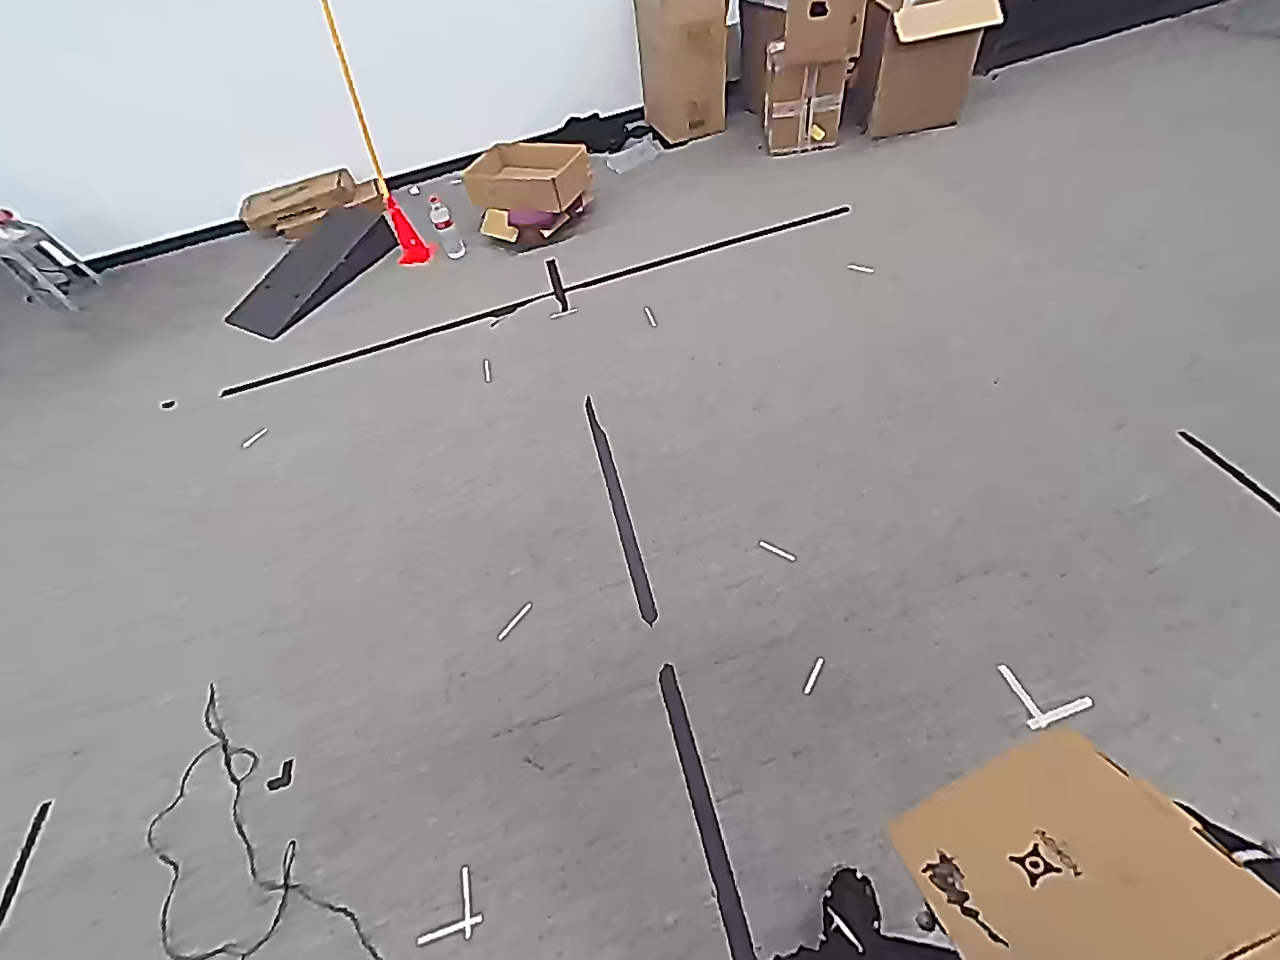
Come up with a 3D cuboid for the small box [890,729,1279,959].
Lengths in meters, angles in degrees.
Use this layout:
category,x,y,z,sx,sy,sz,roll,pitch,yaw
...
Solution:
category,x,y,z,sx,sy,sz,roll,pitch,yaw
small box,0.335,0.338,0.404,0.179,0.176,0.168,-32,11,4
